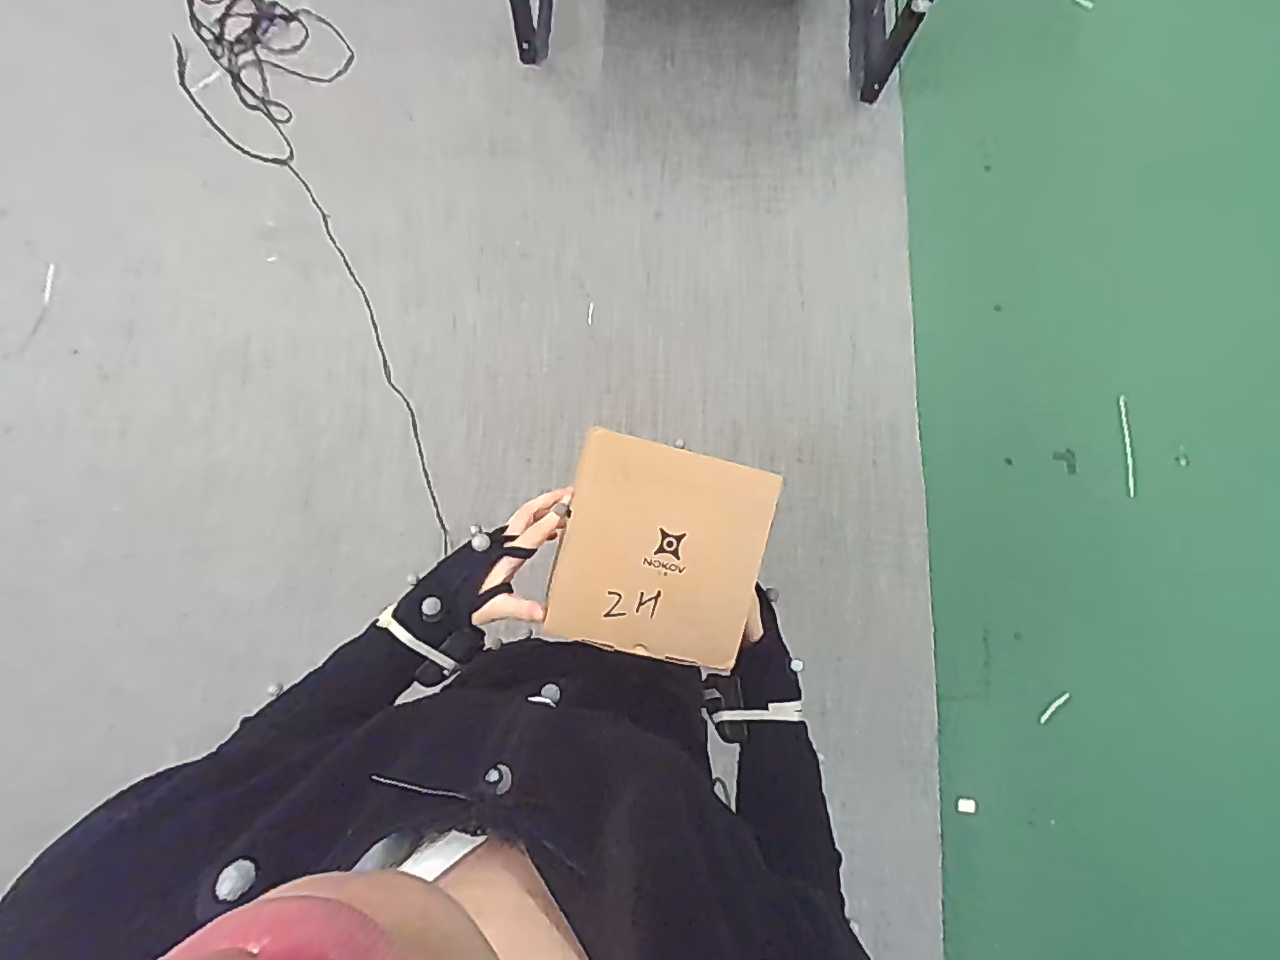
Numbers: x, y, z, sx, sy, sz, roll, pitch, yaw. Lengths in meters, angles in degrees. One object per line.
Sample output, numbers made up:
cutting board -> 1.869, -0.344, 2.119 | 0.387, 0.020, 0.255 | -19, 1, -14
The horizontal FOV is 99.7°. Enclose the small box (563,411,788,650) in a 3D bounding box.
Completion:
small box -> 0.020, 0.044, 0.536 | 0.168, 0.176, 0.179 | 14, 89, -9
